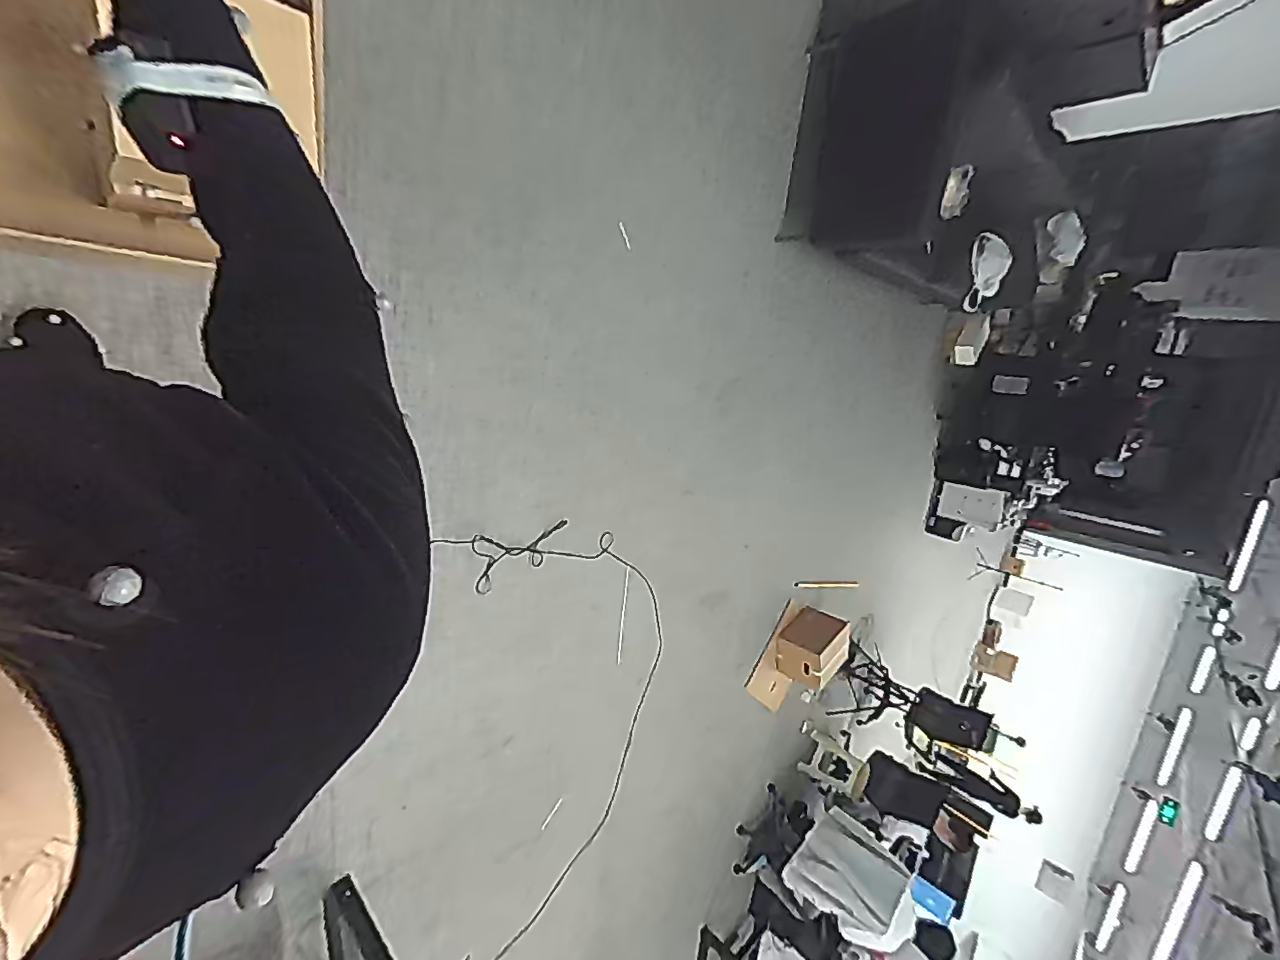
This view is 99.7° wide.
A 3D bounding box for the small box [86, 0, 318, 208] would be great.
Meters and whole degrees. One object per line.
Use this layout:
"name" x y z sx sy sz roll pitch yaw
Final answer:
"small box" -0.462 -0.405 0.577 0.168 0.176 0.179 -10 111 -45
